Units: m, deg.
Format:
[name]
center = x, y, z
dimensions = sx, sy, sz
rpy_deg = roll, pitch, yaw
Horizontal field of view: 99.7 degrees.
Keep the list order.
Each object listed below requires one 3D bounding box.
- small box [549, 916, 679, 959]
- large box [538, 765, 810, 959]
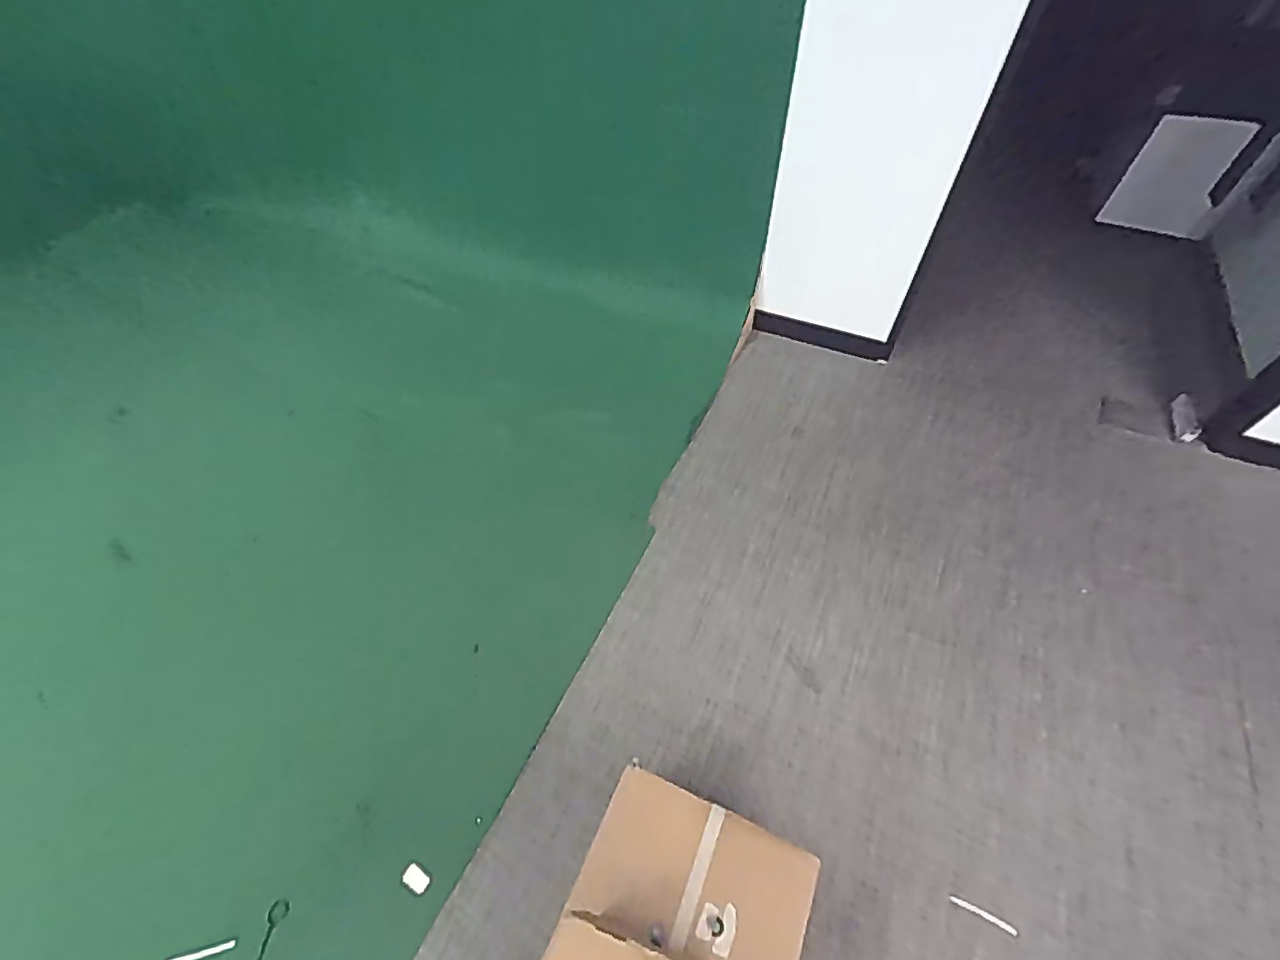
[small box]
center = -0.020, 0.528, 0.481
dimensions = 0.168, 0.176, 0.179
rpy_deg = 15, 53, 13
[large box]
center = 0.035, 0.741, 0.832
dimensions = 0.320, 0.320, 0.408
rpy_deg = 20, 54, 16
